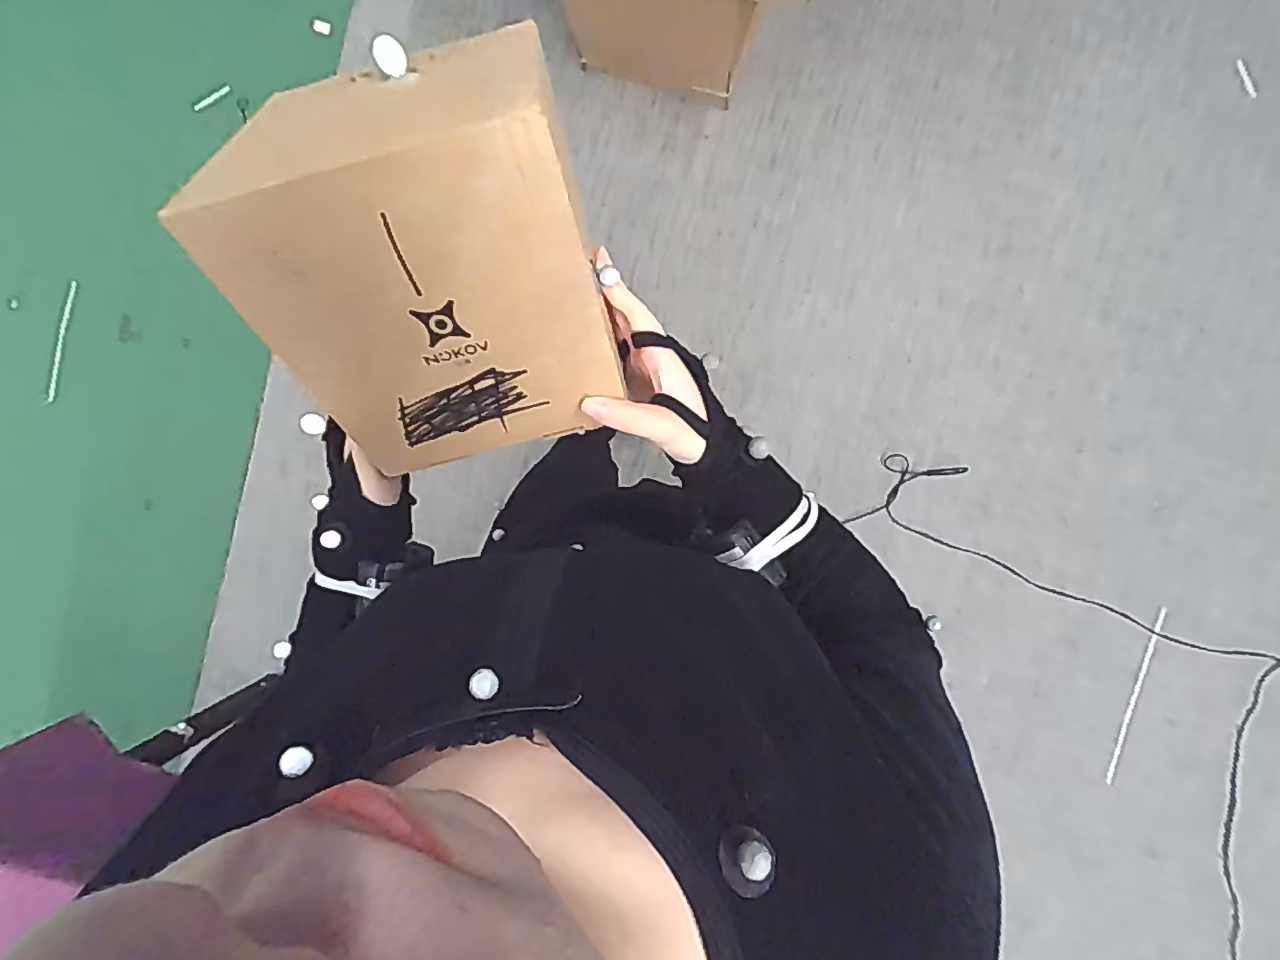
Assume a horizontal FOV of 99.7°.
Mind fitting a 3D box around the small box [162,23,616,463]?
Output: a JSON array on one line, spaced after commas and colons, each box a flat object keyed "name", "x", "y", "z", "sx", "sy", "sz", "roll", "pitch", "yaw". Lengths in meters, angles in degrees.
[{"name": "small box", "x": -0.117, "y": -0.142, "z": 0.337, "sx": 0.168, "sy": 0.179, "sz": 0.176, "roll": -13, "pitch": 49, "yaw": 3}]
